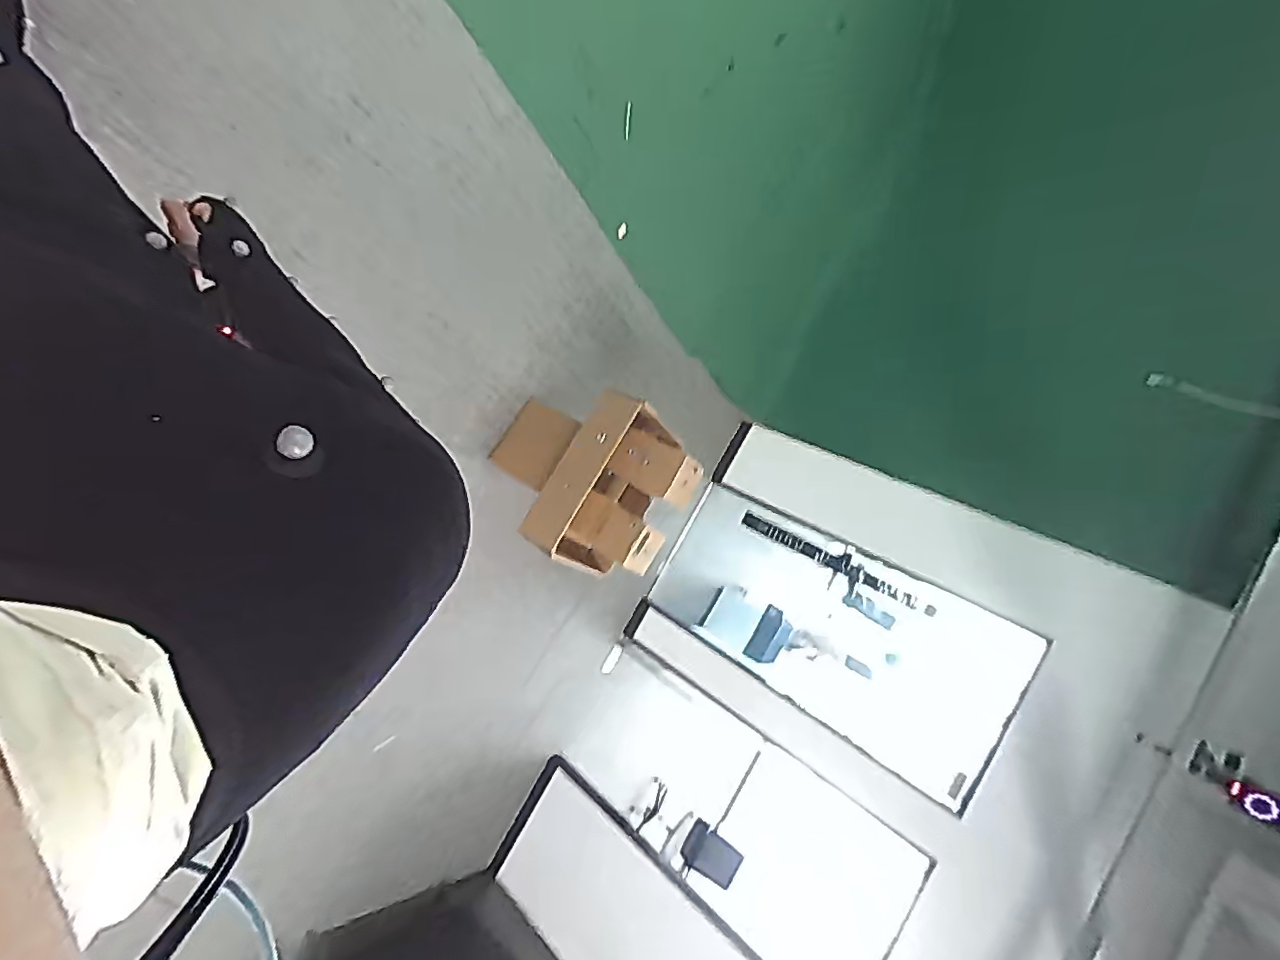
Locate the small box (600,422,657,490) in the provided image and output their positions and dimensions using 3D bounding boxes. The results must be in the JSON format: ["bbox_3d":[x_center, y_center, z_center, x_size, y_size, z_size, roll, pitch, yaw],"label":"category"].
[{"bbox_3d":[-0.018,-0.092,2.004,0.179,0.176,0.168,-58,147,-3],"label":"small box"}]

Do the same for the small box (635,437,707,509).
[{"bbox_3d":[0.103,-0.026,1.914,0.179,0.176,0.168,-60,147,-2],"label":"small box"}]
